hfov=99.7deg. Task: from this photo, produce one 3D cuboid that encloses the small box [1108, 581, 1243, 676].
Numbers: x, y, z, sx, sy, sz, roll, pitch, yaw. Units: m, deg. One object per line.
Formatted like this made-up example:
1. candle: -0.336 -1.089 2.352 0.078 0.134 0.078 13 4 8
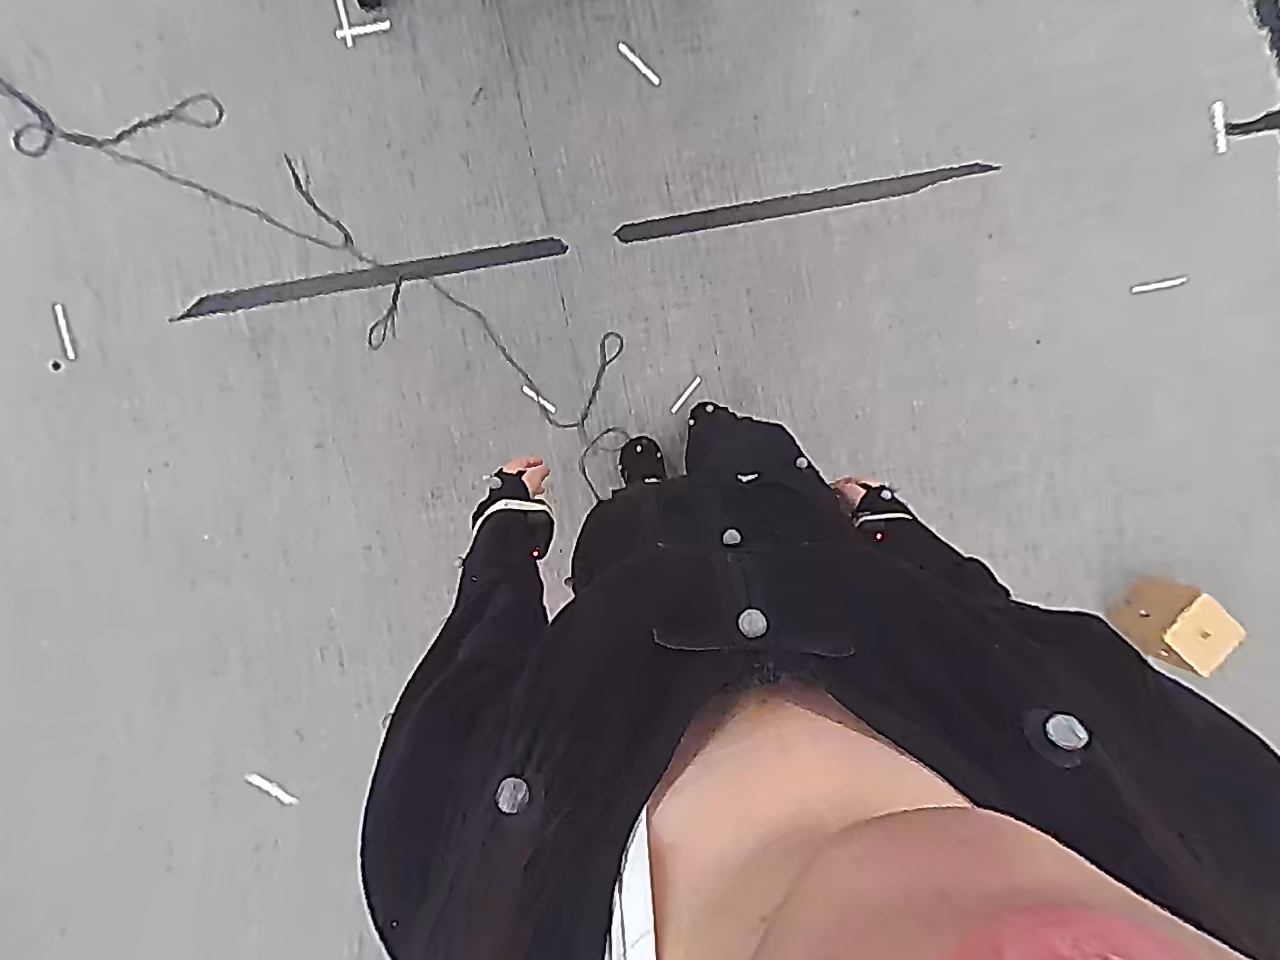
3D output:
1. small box: 1.474 0.401 1.502 0.179 0.176 0.168 41 92 -6
